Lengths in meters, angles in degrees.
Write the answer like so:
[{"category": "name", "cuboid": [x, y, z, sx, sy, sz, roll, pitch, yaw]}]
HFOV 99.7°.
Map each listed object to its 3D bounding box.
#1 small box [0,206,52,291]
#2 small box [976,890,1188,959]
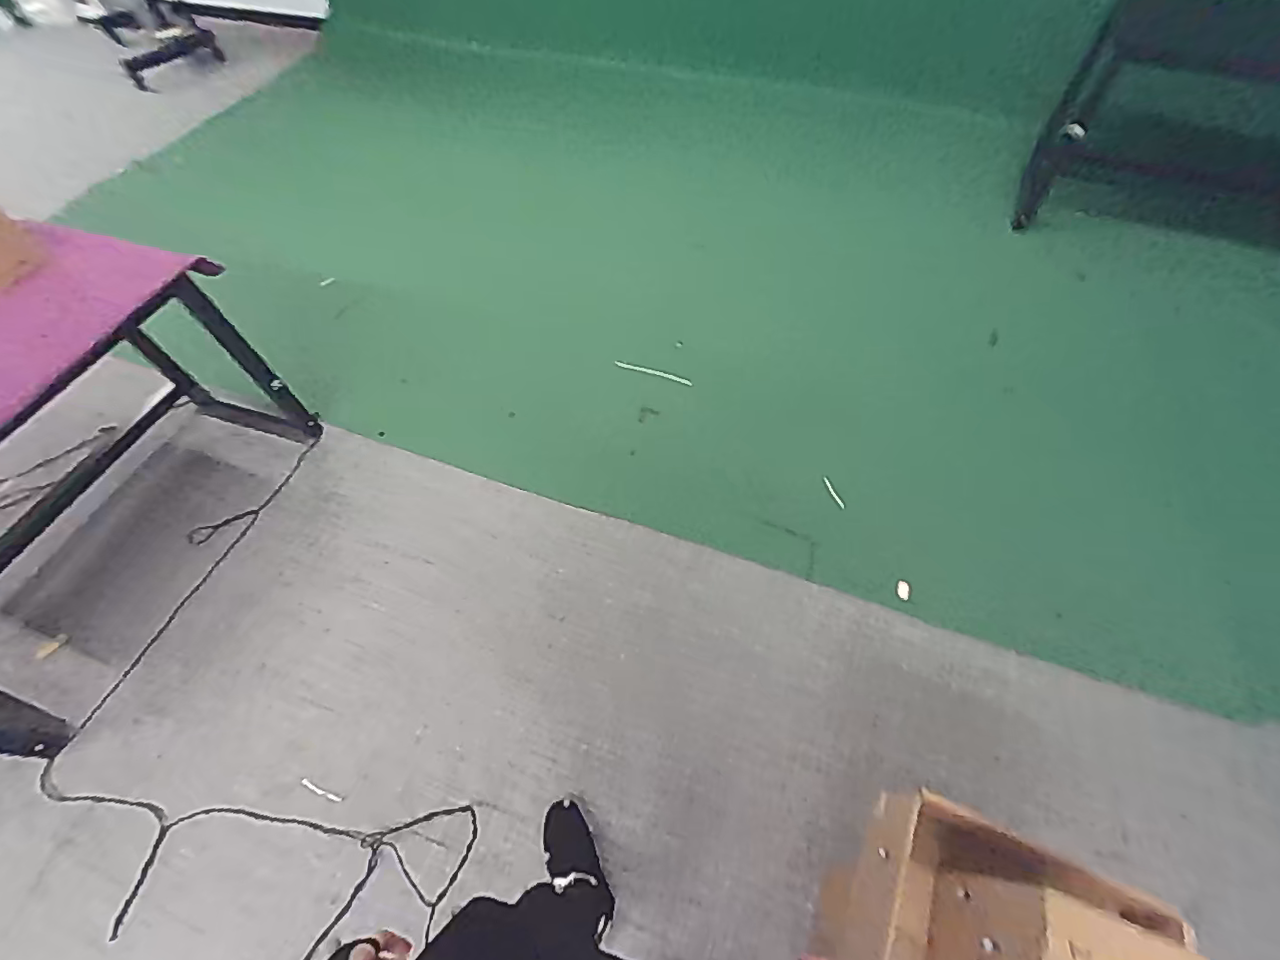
[{"category": "small box", "cuboid": [-1.671, -0.595, 1.351, 0.179, 0.176, 0.168, 15, 60, 11]}, {"category": "small box", "cuboid": [0.546, 0.636, 0.663, 0.179, 0.176, 0.168, 19, 60, 14]}]
